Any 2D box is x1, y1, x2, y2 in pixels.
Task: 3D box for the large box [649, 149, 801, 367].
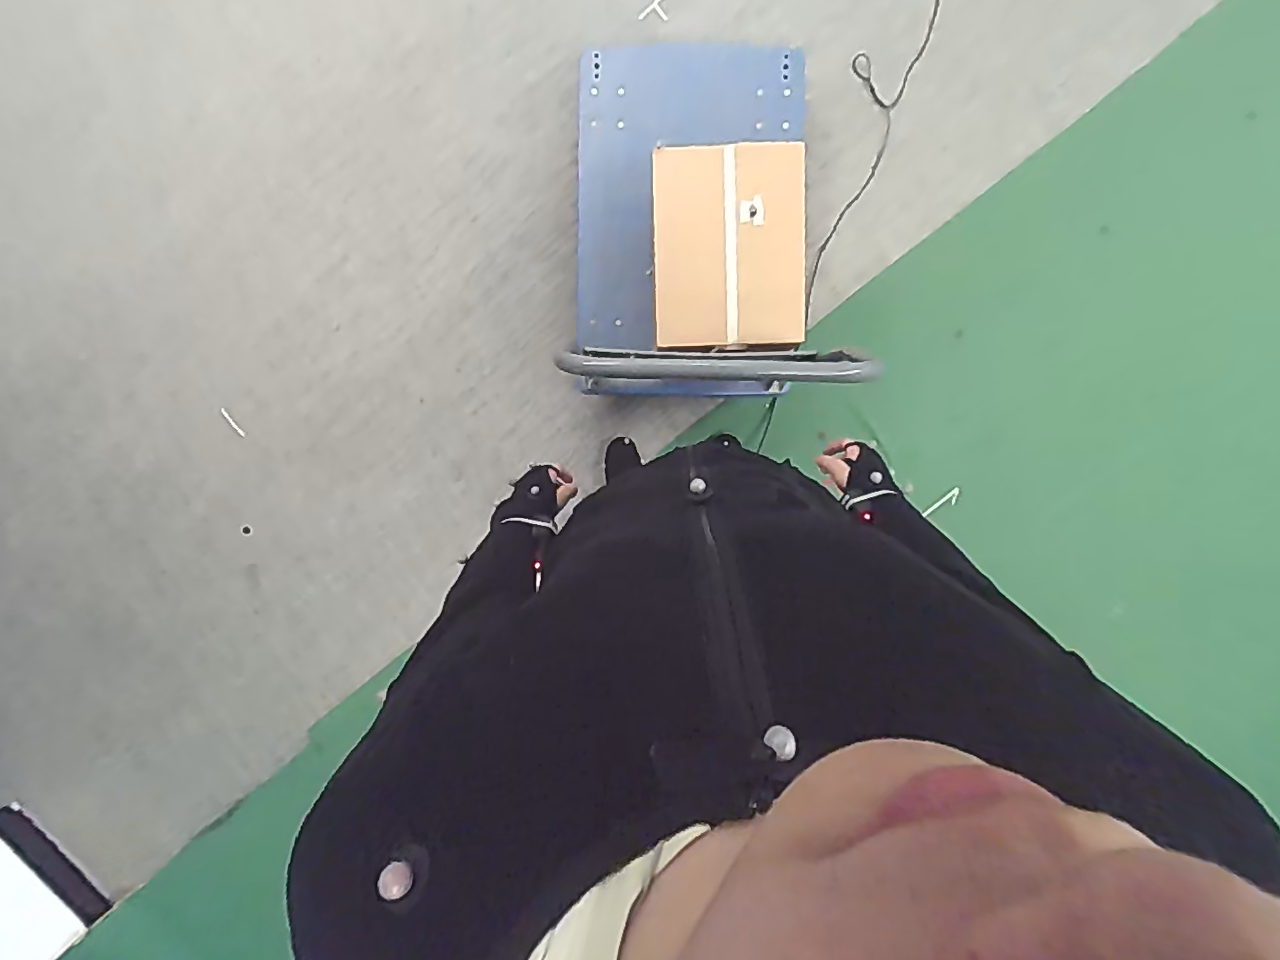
[{"bbox_3d":[0.185,-0.496,1.290,0.320,0.320,0.408,-2,94,0],"label":"large box"}]
